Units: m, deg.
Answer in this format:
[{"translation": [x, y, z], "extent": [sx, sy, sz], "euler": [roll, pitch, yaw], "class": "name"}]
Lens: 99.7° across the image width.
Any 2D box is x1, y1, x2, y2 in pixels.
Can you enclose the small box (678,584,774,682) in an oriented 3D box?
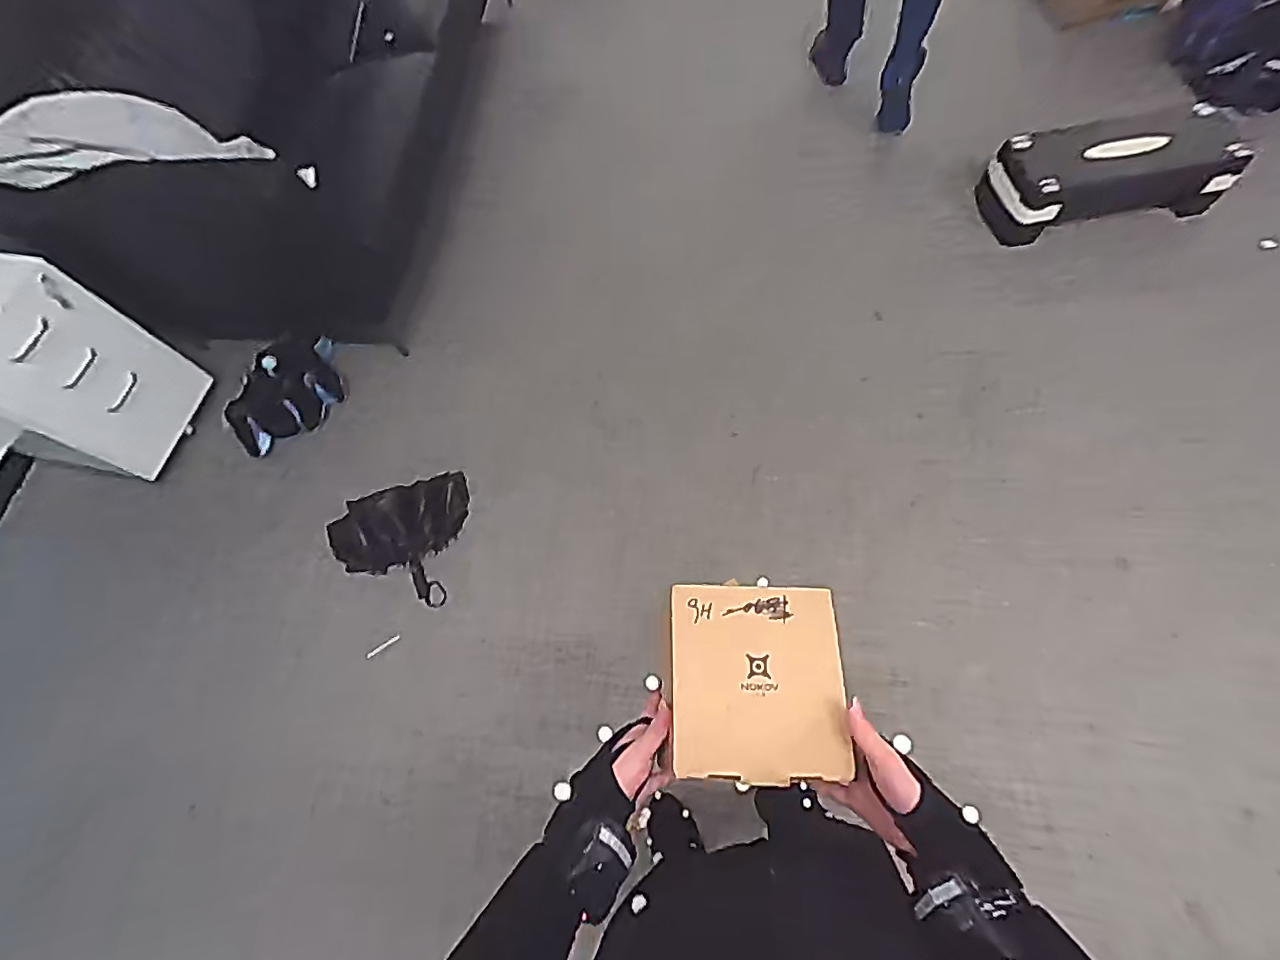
[{"translation": [0.213, 0.393, 1.362], "extent": [0.168, 0.176, 0.179], "euler": [-30, 65, -8], "class": "small box"}]
